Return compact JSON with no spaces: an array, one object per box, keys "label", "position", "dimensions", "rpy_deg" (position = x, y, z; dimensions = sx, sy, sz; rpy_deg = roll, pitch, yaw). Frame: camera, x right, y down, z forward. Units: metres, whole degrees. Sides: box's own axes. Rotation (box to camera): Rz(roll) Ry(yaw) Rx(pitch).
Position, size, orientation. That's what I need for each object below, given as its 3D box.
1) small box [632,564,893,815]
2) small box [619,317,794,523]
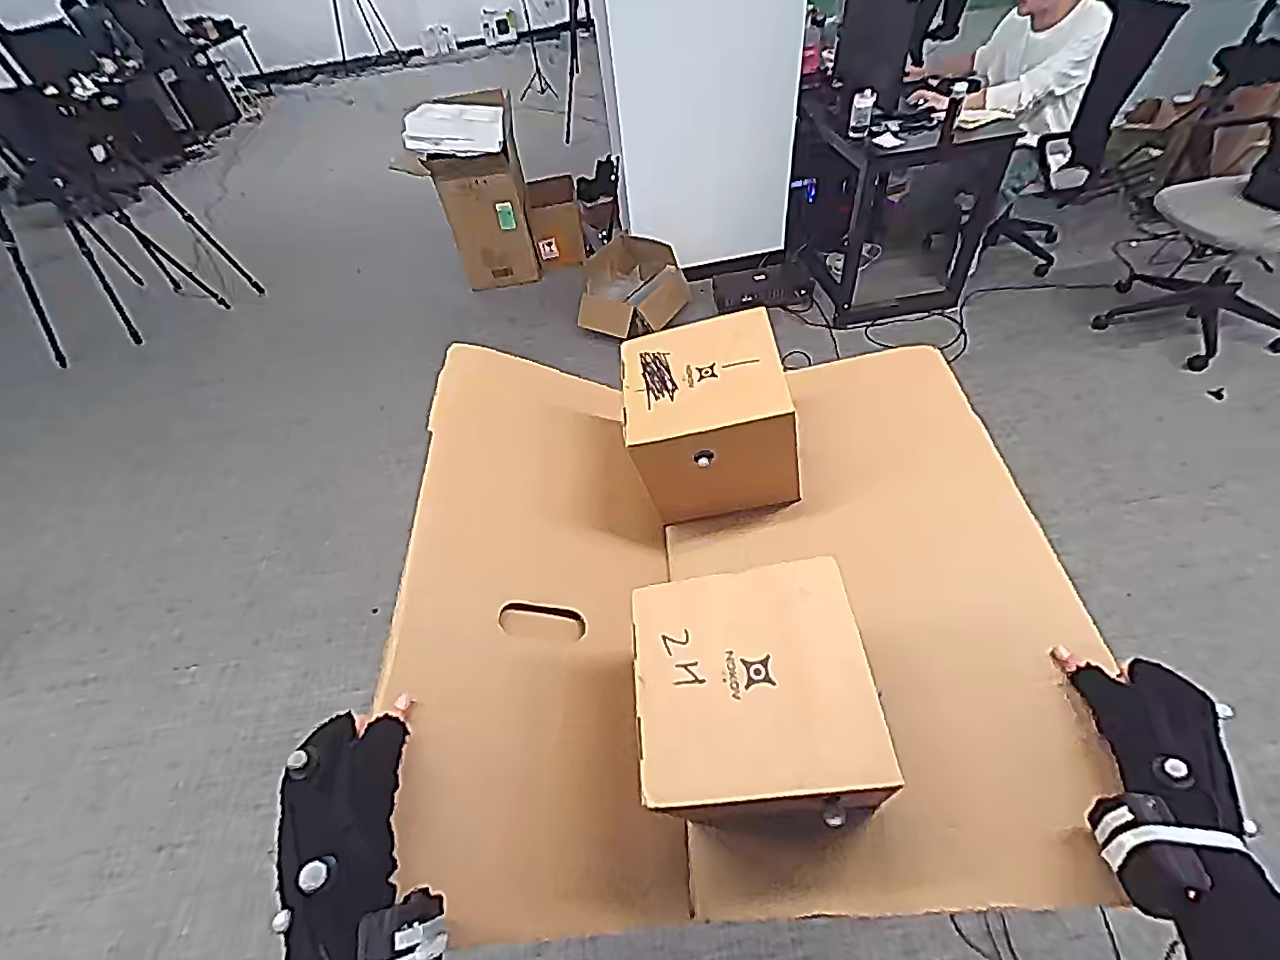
[{"label":"small box","position":[0.101,0.193,0.479],"dimensions":[0.179,0.176,0.168],"rpy_deg":[-12,54,11]},{"label":"small box","position":[0.083,-0.064,0.663],"dimensions":[0.179,0.176,0.168],"rpy_deg":[-11,54,11]}]
